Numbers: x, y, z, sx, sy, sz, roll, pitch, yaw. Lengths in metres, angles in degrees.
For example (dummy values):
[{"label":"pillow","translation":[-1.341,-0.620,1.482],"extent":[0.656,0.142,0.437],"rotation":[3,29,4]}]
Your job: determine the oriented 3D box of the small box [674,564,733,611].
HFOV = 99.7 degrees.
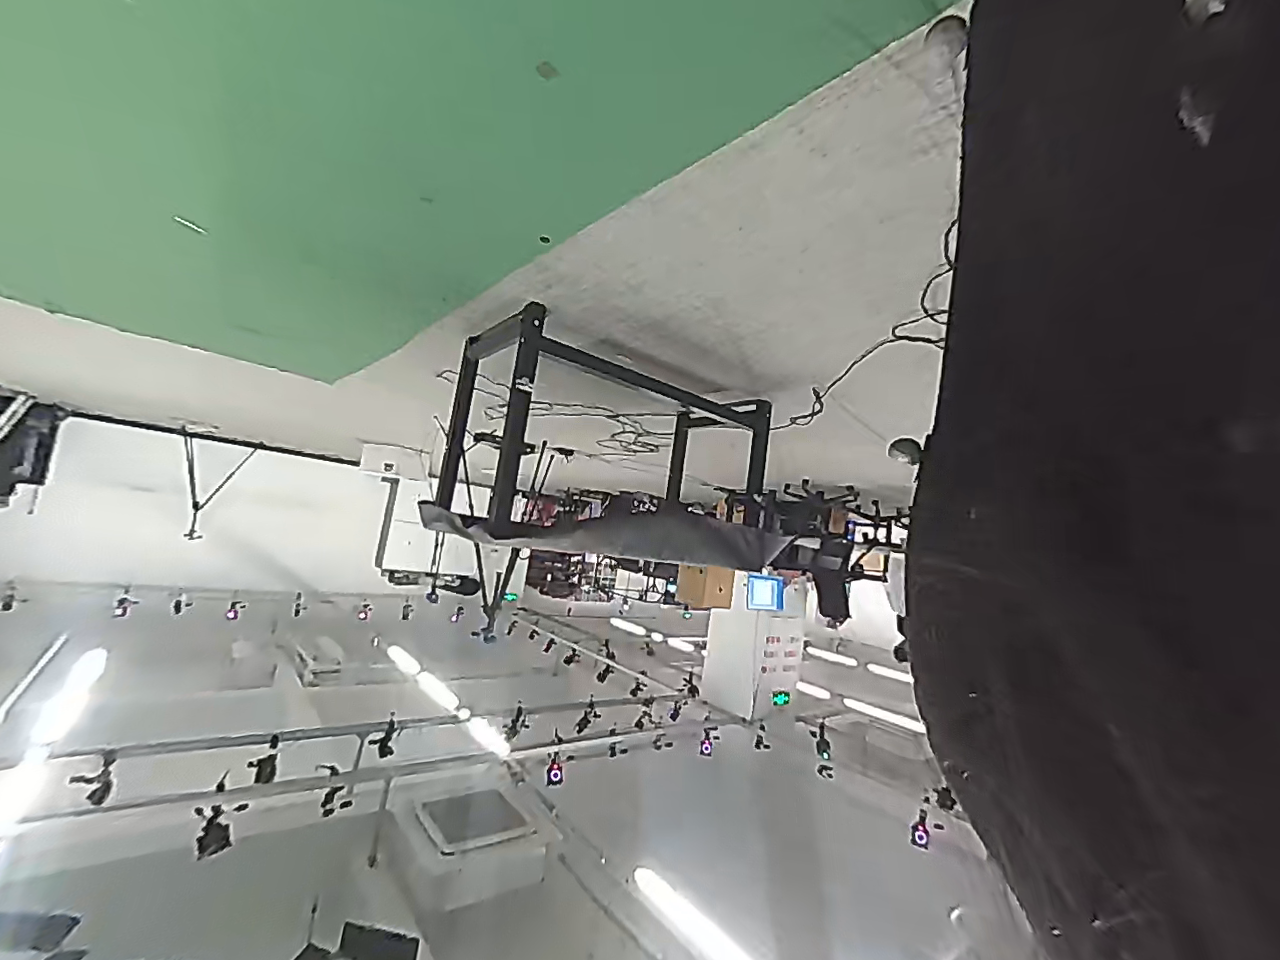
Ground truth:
[{"label":"small box","translation":[0.268,0.446,2.255],"extent":[0.179,0.176,0.168],"rotation":[13,172,-38]}]
